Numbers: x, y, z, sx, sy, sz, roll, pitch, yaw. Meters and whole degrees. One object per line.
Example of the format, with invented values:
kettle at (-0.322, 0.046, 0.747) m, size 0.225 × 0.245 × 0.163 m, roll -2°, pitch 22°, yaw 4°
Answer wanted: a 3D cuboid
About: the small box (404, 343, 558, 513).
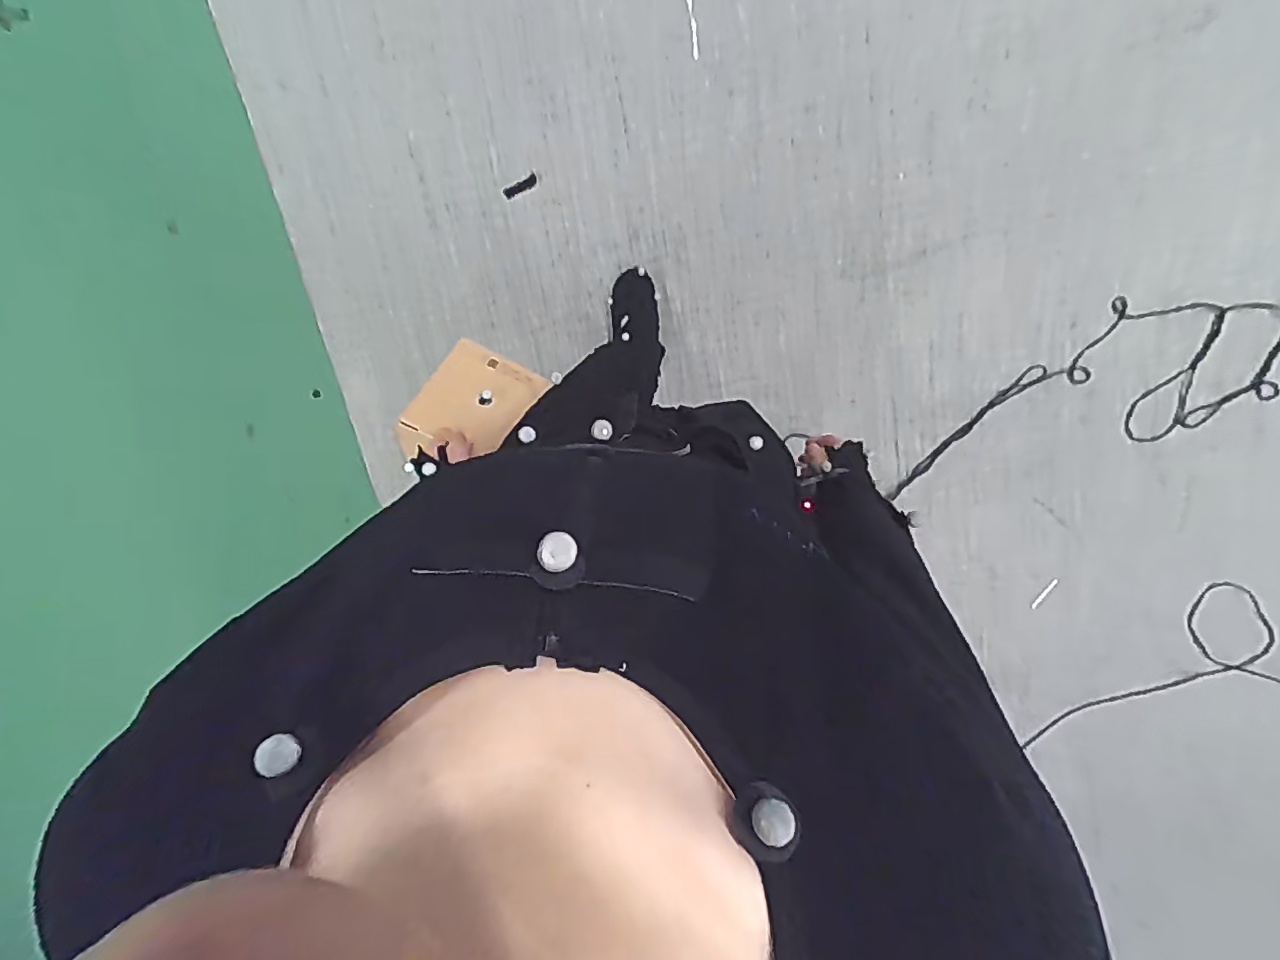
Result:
small box at (-0.241, -0.080, 0.847) m, size 0.168 × 0.179 × 0.176 m, roll 26°, pitch 62°, yaw -3°
